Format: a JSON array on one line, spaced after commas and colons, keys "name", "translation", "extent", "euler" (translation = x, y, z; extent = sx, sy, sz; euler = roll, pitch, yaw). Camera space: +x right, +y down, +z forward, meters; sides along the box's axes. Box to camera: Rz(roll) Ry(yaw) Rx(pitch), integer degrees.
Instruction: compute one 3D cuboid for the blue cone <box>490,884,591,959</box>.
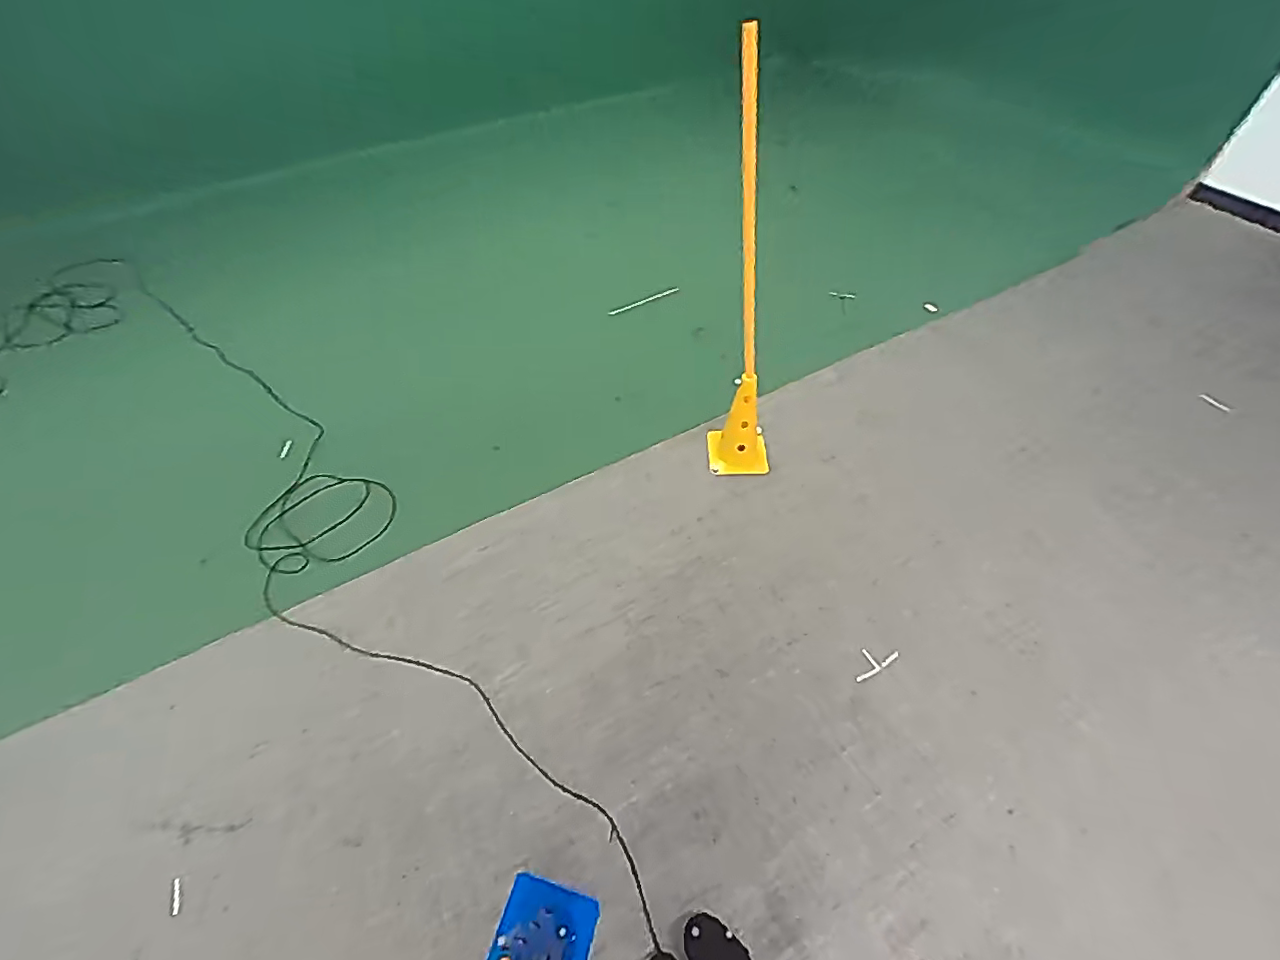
[{"name": "blue cone", "translation": [-0.209, 0.871, 0.975], "extent": [0.192, 0.380, 0.193], "euler": [12, 56, 10]}]
